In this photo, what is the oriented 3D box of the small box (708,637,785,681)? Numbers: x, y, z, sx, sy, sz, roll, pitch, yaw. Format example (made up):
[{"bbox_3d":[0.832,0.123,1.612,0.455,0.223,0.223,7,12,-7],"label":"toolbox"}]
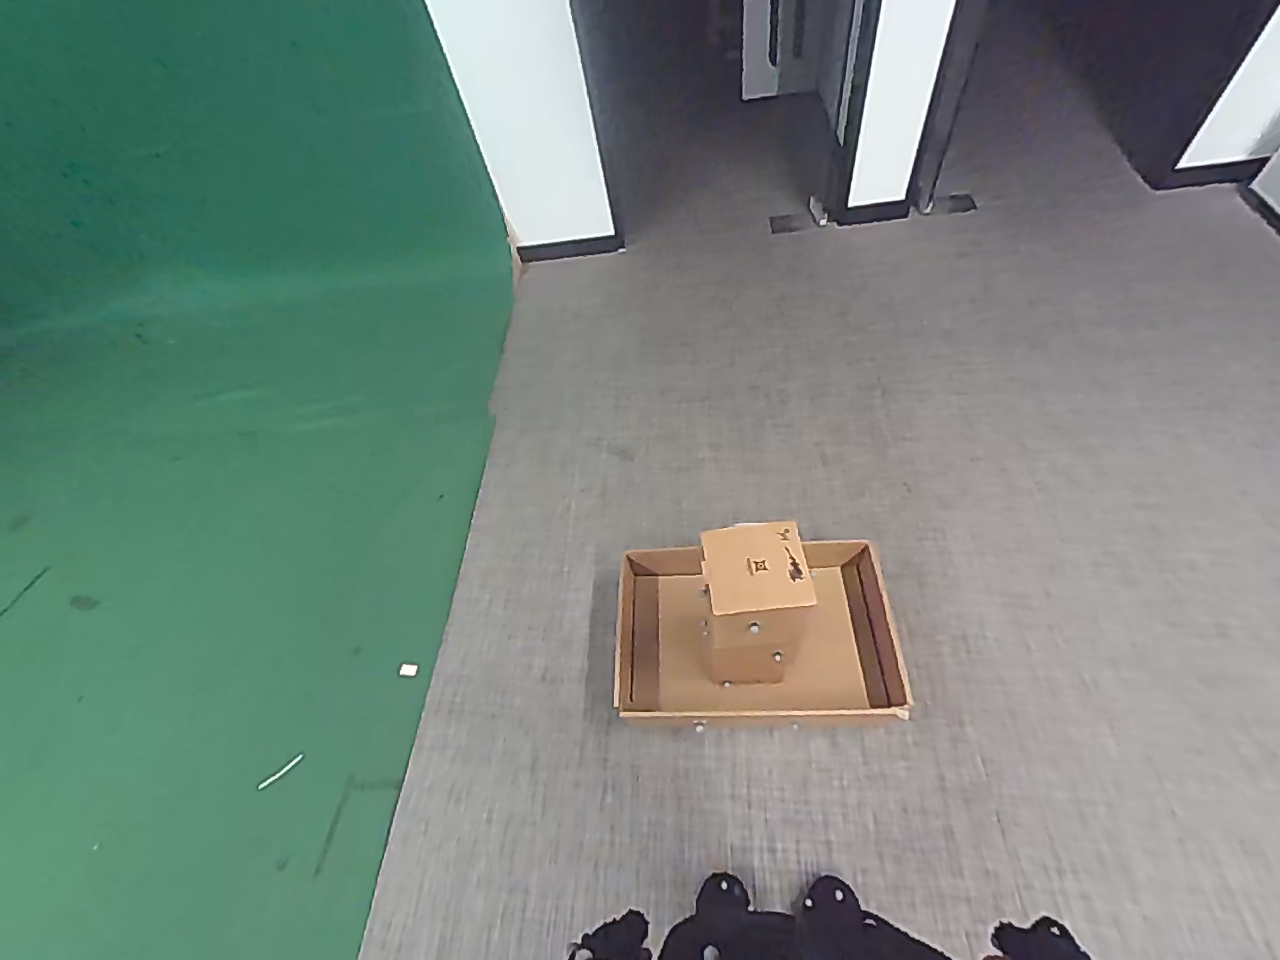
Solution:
[{"bbox_3d":[0.247,0.371,1.281,0.168,0.176,0.179,-4,55,7],"label":"small box"}]

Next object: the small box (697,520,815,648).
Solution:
[{"bbox_3d":[0.210,0.200,1.010,0.179,0.176,0.168,-9,52,2],"label":"small box"}]

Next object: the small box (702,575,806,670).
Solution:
[{"bbox_3d":[0.228,0.284,1.127,0.179,0.176,0.168,-9,54,3],"label":"small box"}]
